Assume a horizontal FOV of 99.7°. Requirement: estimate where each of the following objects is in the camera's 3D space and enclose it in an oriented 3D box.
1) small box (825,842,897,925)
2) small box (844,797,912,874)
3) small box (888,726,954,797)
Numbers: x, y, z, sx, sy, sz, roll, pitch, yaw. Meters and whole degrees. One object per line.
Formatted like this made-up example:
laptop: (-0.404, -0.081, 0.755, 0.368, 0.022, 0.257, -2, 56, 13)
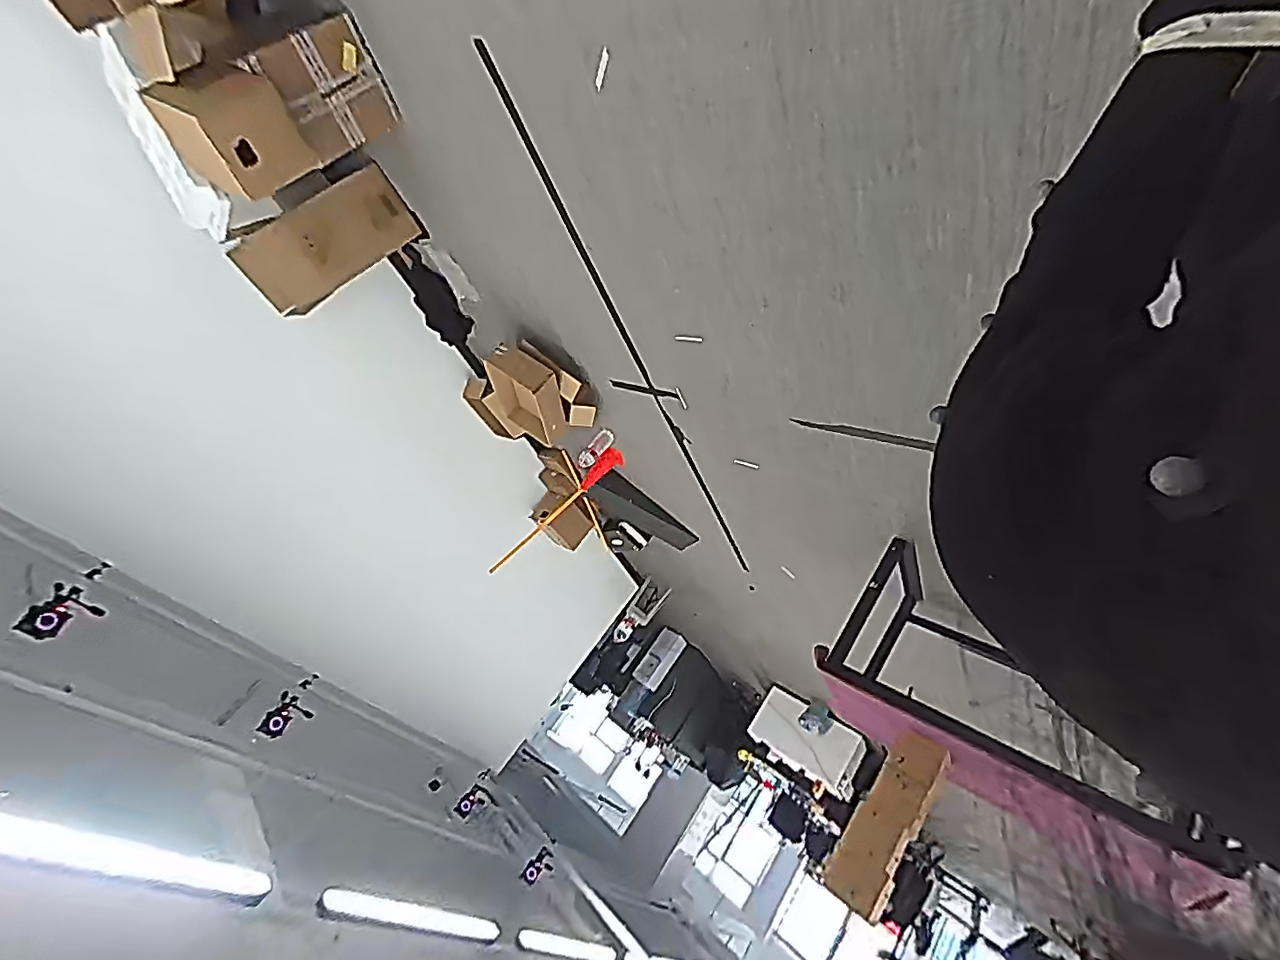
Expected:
small box: (0.801, 1.446, 1.951, 0.179, 0.176, 0.168, 18, 151, 45)
small box: (0.888, 1.319, 2.004, 0.168, 0.176, 0.179, 18, 151, 44)
small box: (1.096, 1.086, 2.104, 0.179, 0.176, 0.168, 18, 152, 44)
